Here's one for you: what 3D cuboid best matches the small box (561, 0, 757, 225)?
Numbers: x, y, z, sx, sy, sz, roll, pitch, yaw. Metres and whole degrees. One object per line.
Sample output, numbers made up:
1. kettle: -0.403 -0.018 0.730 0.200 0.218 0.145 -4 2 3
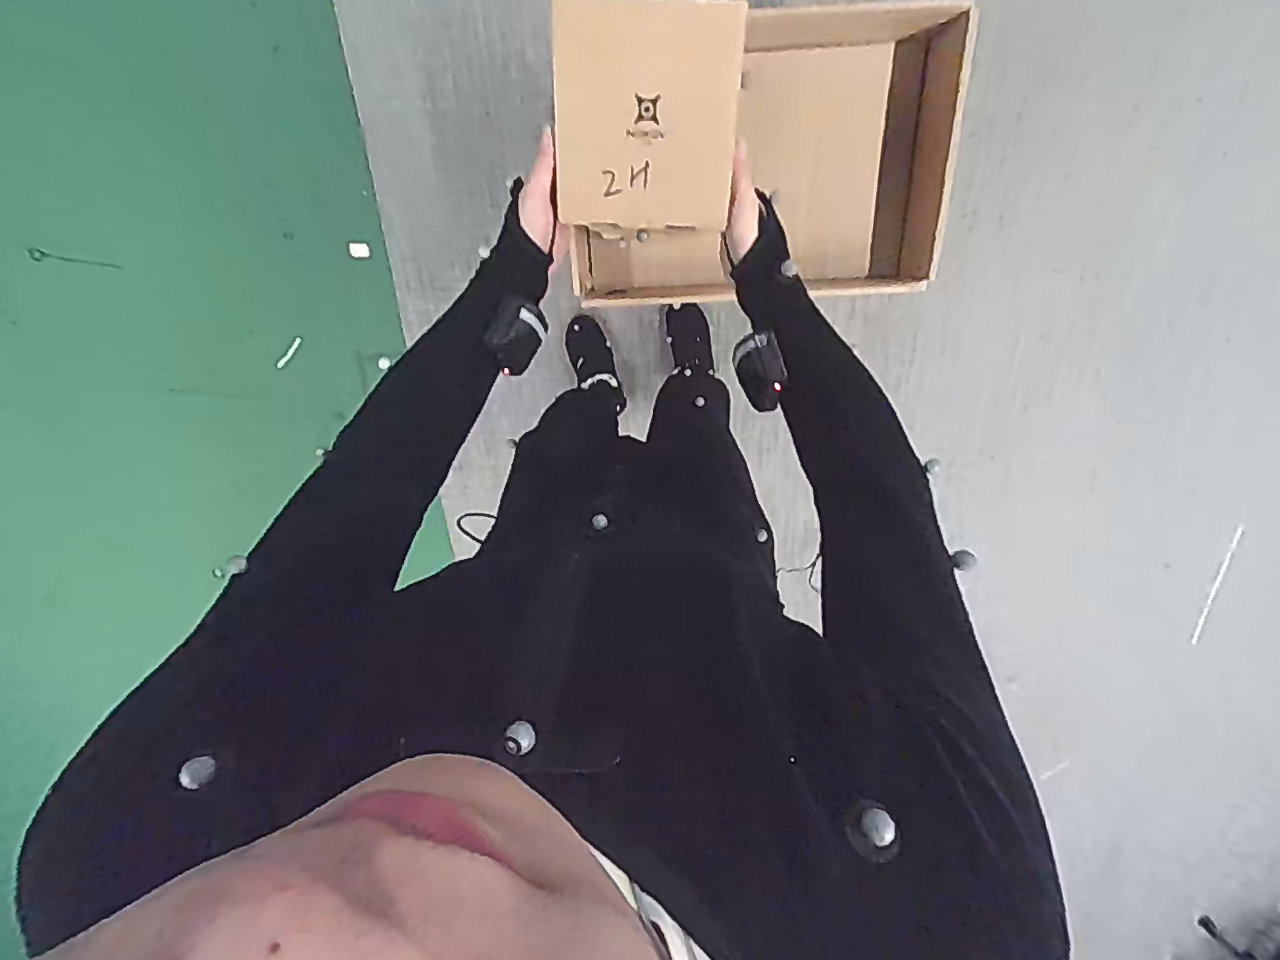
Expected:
1. small box: 0.011 -0.361 0.549 0.168 0.176 0.179 3 116 0
